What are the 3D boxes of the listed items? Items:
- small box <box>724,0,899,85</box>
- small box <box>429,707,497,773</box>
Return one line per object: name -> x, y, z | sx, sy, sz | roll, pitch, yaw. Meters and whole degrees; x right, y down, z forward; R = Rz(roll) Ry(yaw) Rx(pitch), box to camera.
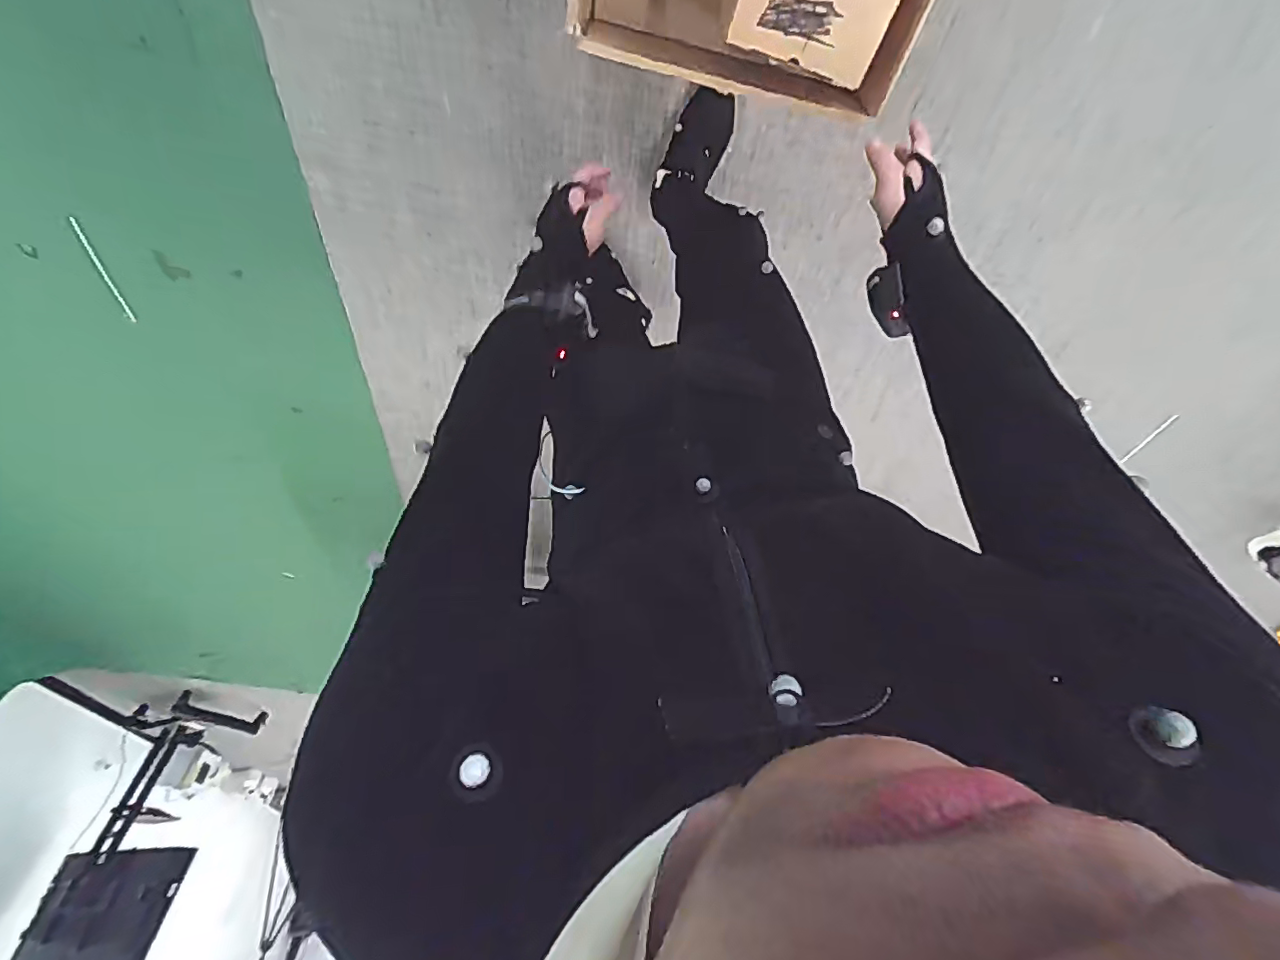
small box -> 0.200, -0.584, 0.594 | 0.168, 0.176, 0.179 | 13, 139, -9
small box -> -0.618, 0.916, 1.911 | 0.179, 0.176, 0.168 | 3, 138, 0
